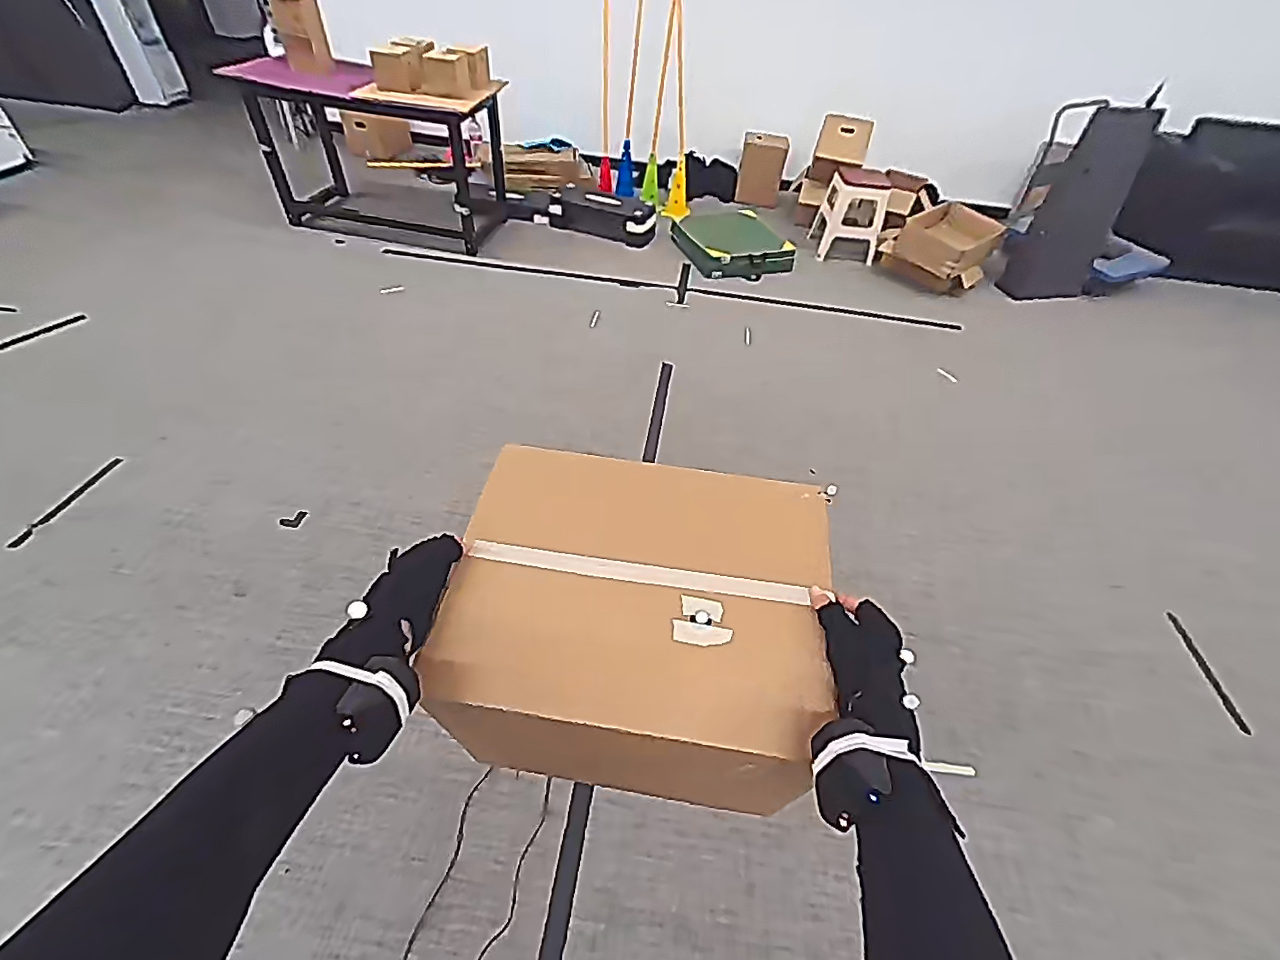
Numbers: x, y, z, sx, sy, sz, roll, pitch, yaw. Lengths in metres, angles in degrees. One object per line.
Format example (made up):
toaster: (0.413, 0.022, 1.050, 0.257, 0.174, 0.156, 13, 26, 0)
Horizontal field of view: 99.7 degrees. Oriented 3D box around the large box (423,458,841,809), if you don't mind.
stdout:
large box: (0.001, 0.204, 0.708, 0.408, 0.320, 0.320, 8, 52, 4)
